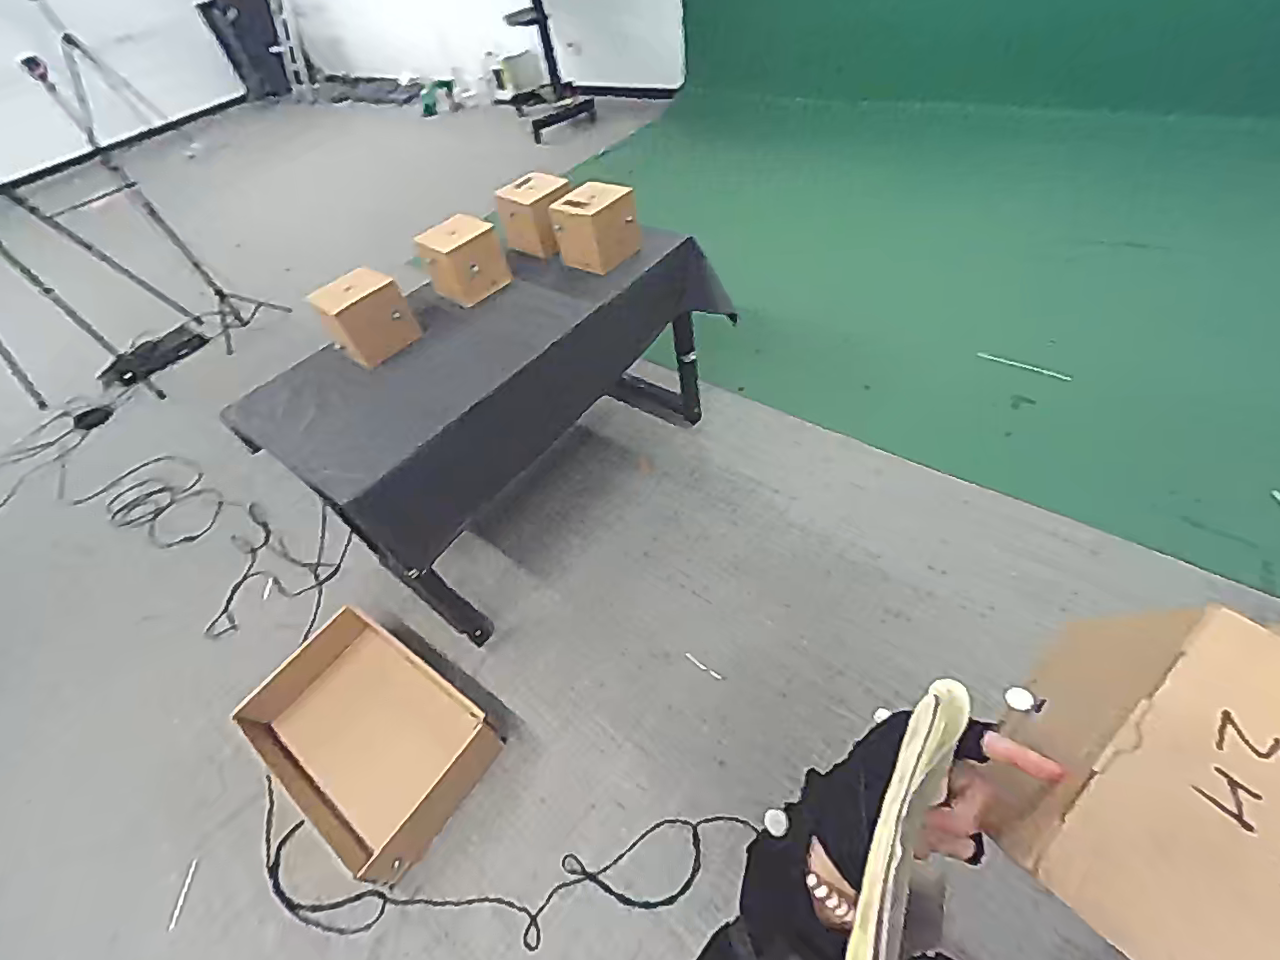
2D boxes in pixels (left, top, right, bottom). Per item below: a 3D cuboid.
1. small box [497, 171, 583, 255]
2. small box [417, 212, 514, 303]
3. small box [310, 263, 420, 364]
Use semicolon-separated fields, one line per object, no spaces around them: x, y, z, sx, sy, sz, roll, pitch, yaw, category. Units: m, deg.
-0.301;-0.815;1.655;0.179;0.176;0.168;32;63;31;small box
-0.490;-0.629;1.538;0.179;0.176;0.168;31;62;32;small box
-0.705;-0.434;1.410;0.168;0.176;0.179;30;60;31;small box
